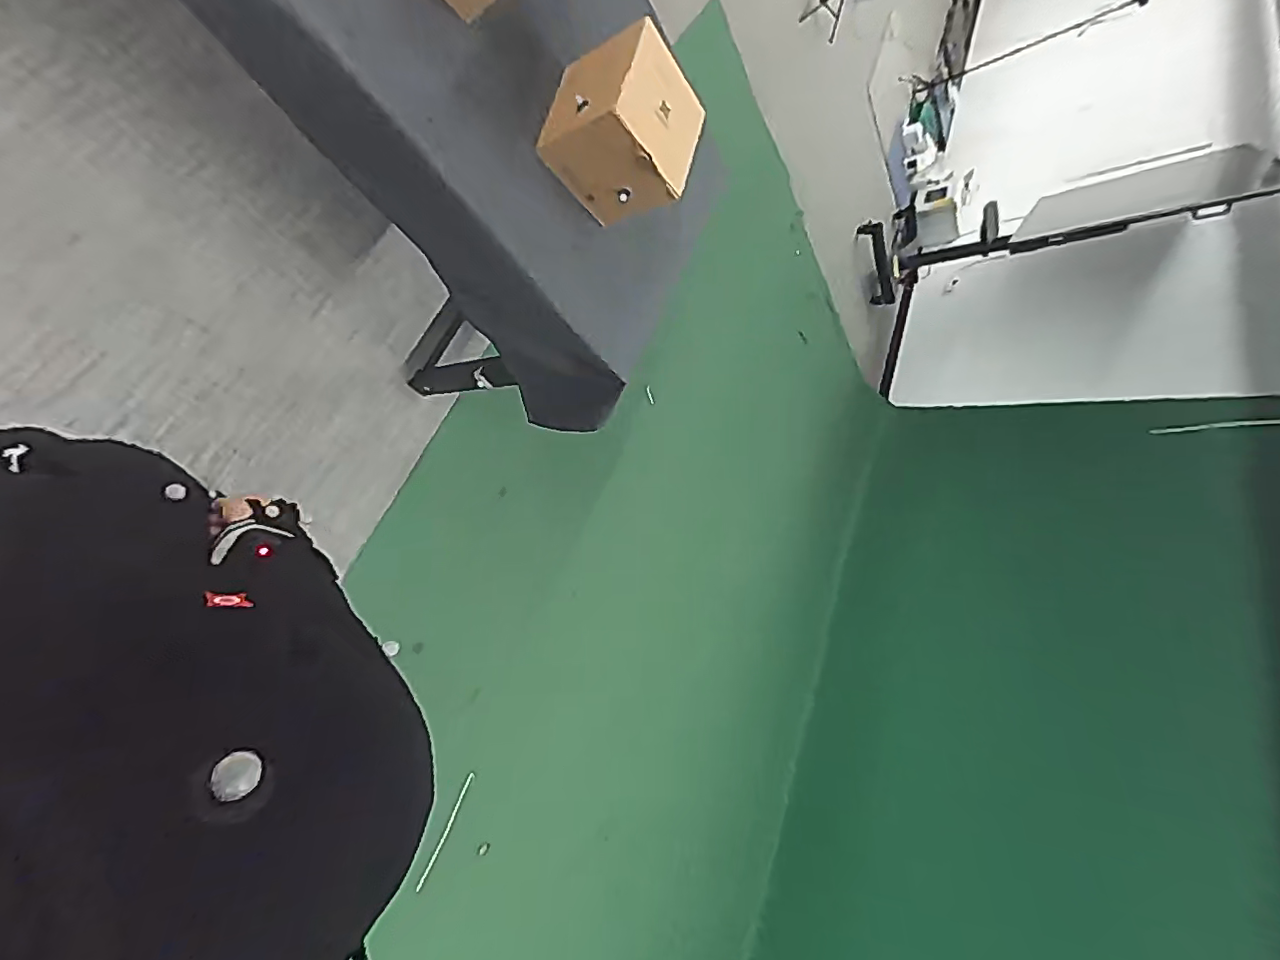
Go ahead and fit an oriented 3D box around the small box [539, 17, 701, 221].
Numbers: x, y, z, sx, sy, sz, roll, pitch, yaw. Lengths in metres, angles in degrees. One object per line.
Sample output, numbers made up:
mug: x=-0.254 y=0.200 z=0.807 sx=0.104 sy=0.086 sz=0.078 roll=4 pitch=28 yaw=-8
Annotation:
small box: x=-0.032 y=-0.539 z=0.838 sx=0.168 sy=0.176 sz=0.179 roll=31 pitch=67 yaw=-48
